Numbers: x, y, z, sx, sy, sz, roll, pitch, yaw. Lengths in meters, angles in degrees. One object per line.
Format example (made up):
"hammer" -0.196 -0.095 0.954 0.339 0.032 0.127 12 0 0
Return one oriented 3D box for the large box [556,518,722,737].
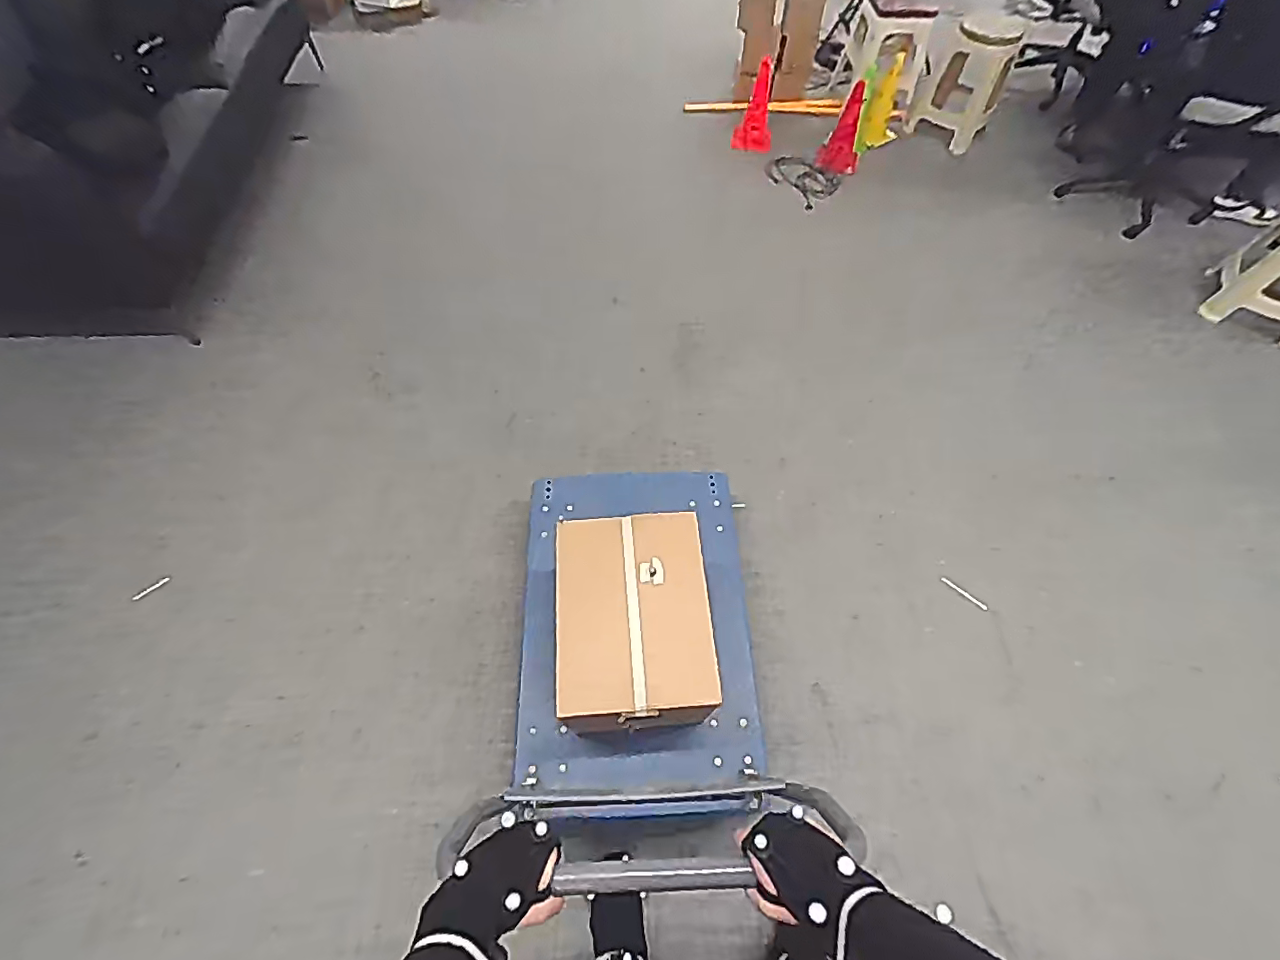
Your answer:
"large box" -0.013 0.343 1.237 0.320 0.320 0.408 -4 60 -2
